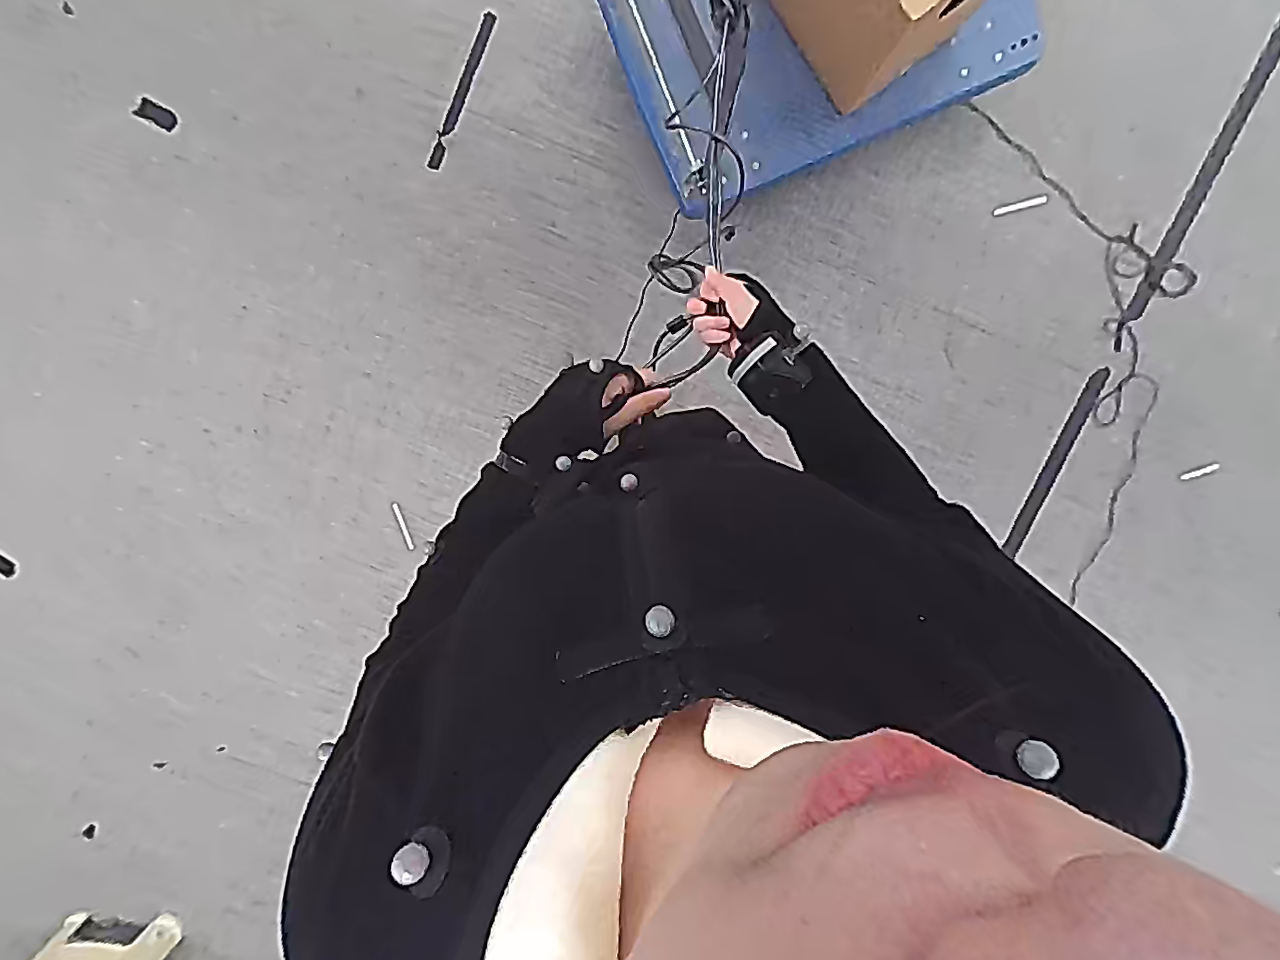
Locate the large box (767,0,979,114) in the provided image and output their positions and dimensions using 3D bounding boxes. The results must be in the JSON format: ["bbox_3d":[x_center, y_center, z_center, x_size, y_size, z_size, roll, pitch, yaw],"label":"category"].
[{"bbox_3d":[0.457,-1.041,1.035,0.320,0.320,0.408,-37,97,5],"label":"large box"}]
